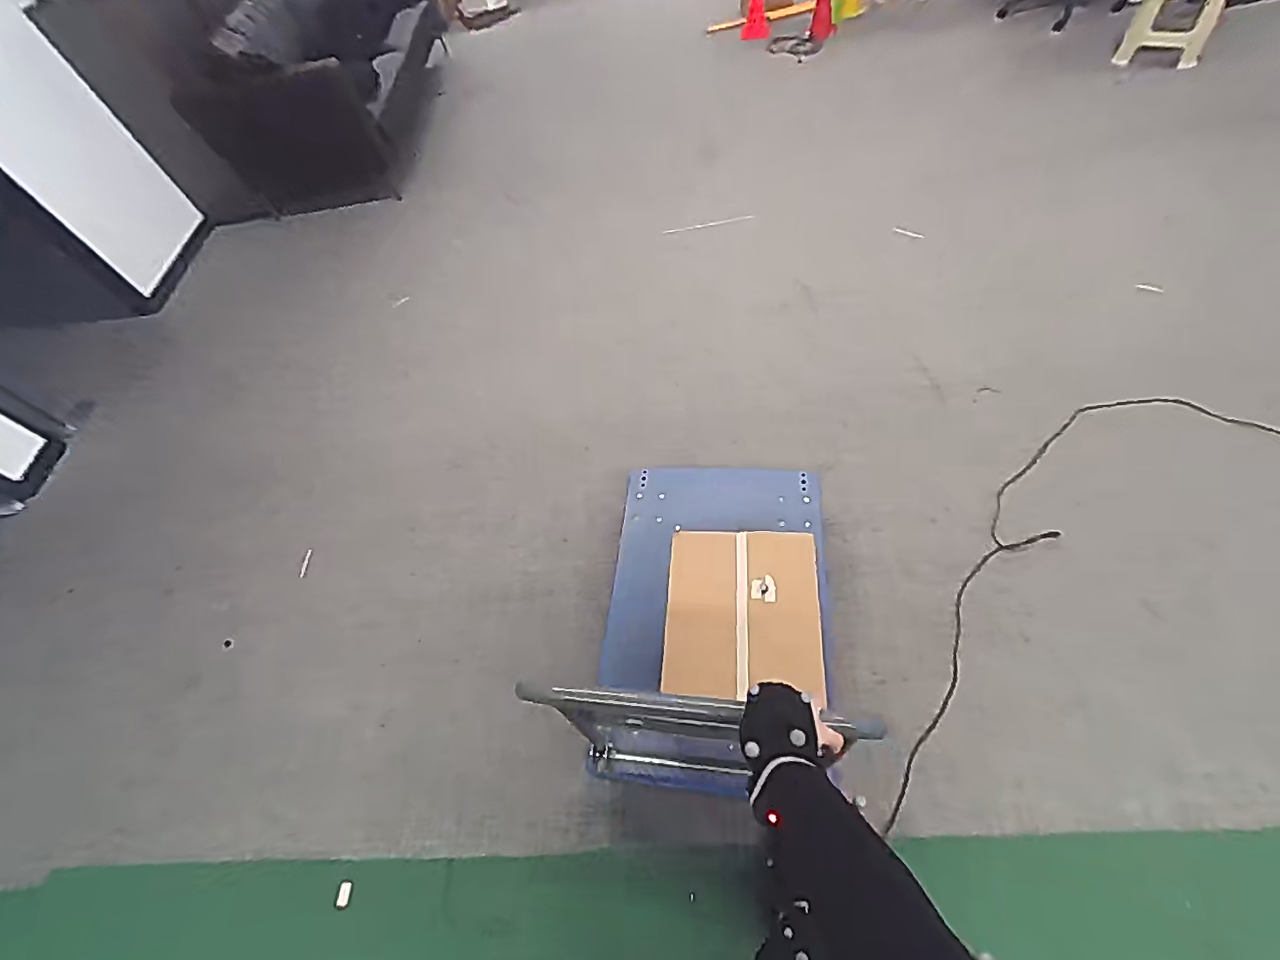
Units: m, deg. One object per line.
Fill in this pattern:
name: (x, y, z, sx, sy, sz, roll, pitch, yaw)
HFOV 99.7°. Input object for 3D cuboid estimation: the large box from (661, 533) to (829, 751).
large box: (0.232, 0.370, 1.231, 0.320, 0.320, 0.408, 1, 57, 10)
